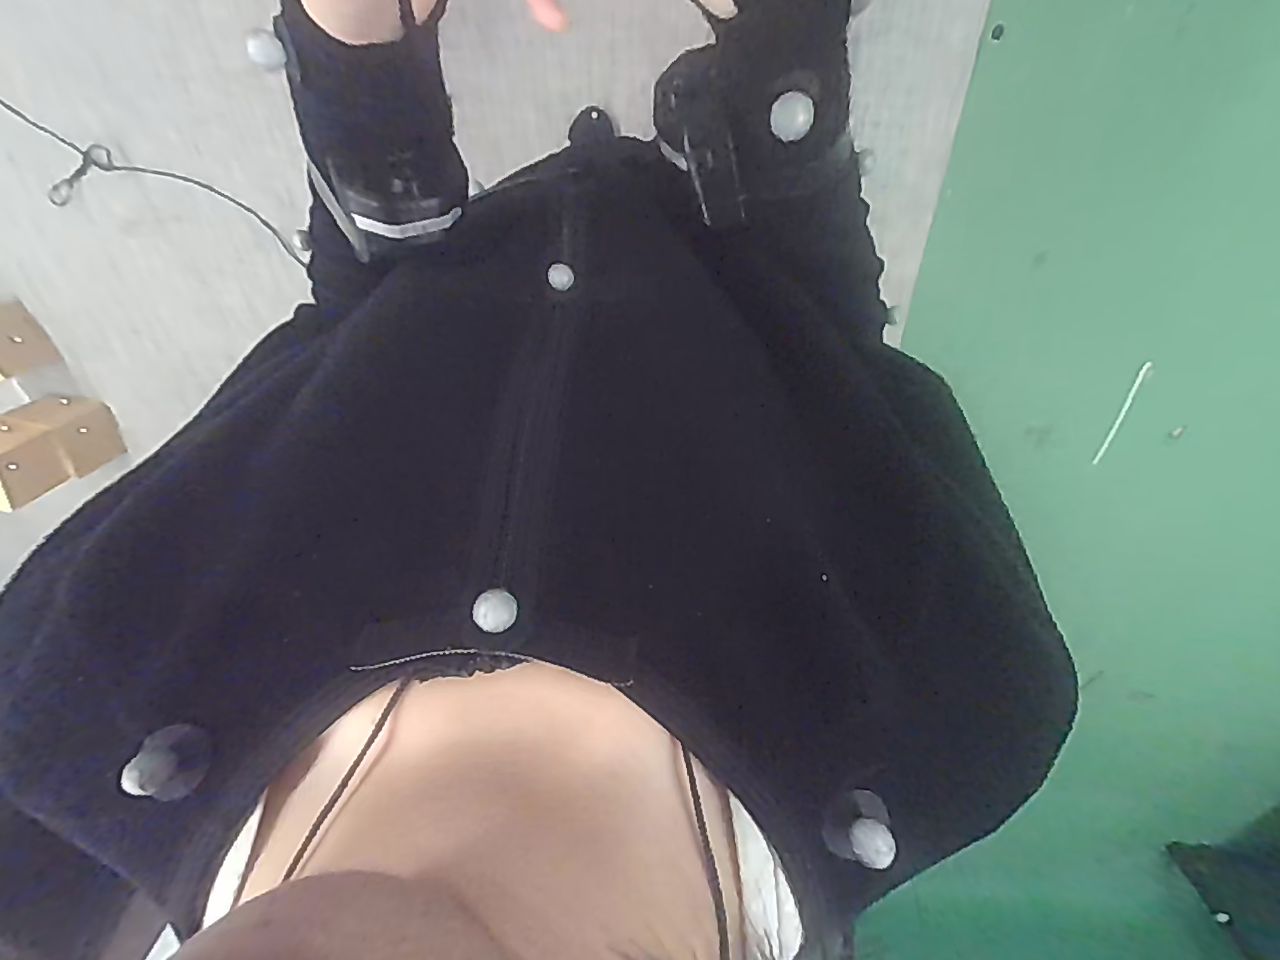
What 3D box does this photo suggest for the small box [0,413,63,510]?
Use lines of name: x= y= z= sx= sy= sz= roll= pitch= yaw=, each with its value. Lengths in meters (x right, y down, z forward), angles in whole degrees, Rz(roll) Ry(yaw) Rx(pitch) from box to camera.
small box: x=-1.693 y=-0.054 z=1.420 sx=0.168 sy=0.176 sz=0.179 roll=15 pitch=121 yaw=-7

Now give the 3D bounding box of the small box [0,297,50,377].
small box: x=-1.721 y=-0.366 z=1.408 sx=0.179 sy=0.176 sz=0.168 roll=-6 pitch=123 yaw=6
